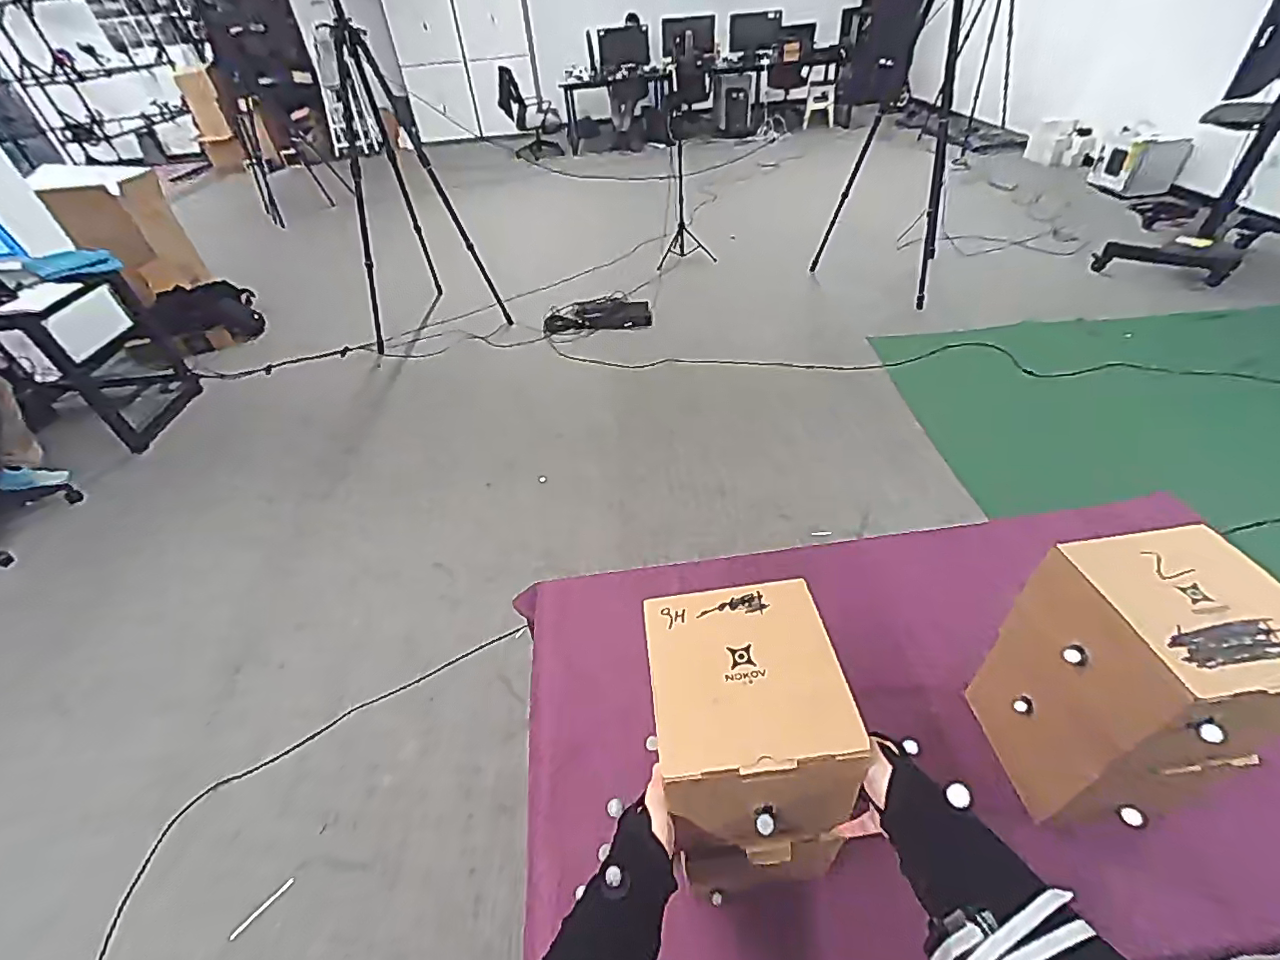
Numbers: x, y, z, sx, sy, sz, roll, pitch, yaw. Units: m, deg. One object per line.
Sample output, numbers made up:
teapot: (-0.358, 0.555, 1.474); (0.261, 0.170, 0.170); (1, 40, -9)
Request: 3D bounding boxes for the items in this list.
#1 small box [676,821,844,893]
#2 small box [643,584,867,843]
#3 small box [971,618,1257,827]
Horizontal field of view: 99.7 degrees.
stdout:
small box: (0.120, 0.364, 0.643); (0.168, 0.176, 0.179); (-8, 41, -2)
small box: (0.099, 0.231, 0.528); (0.168, 0.176, 0.179); (-8, 40, 1)
small box: (0.548, 0.296, 0.664); (0.168, 0.176, 0.179); (-7, 42, 1)
